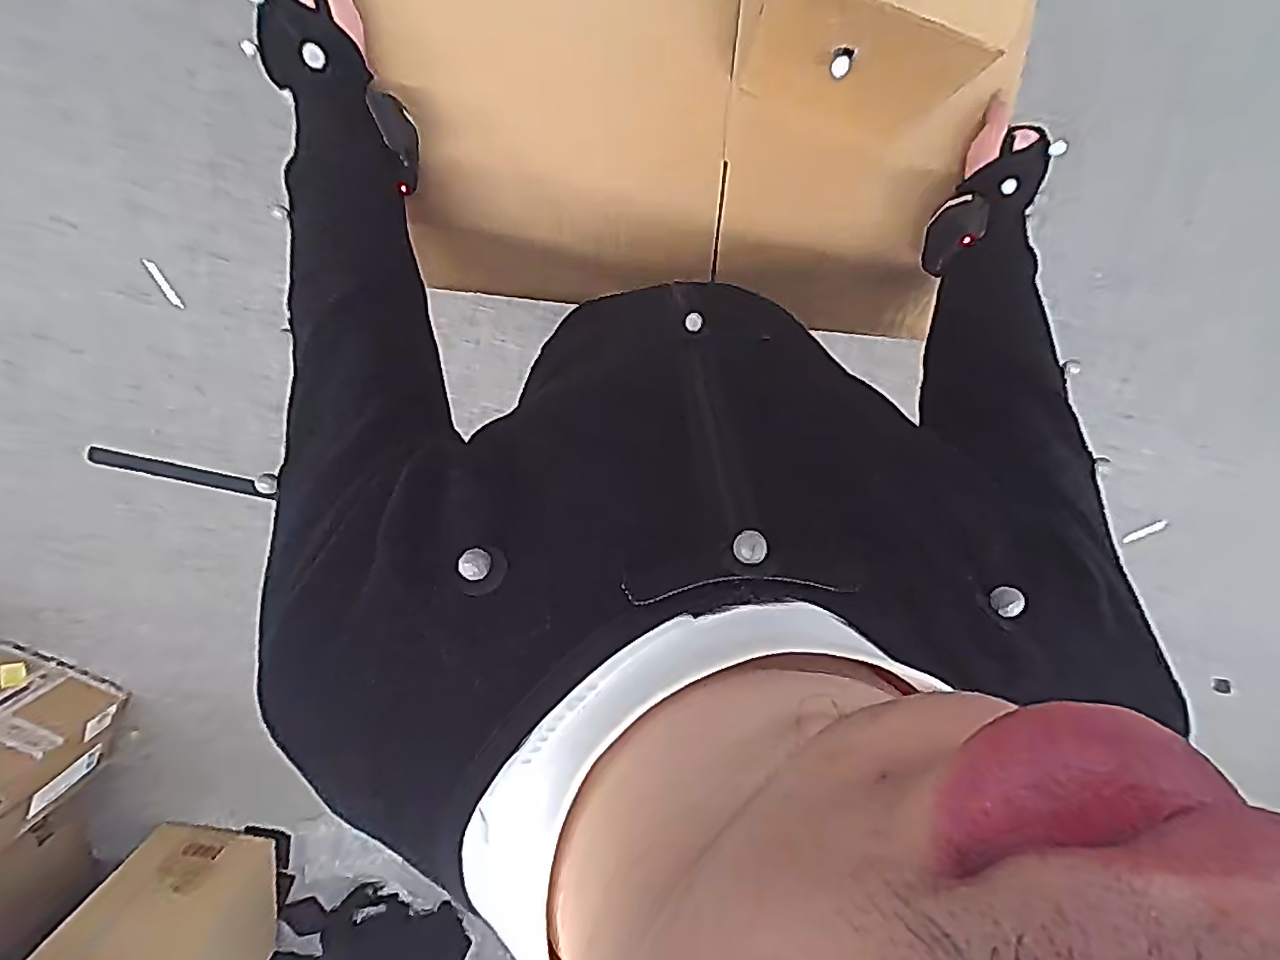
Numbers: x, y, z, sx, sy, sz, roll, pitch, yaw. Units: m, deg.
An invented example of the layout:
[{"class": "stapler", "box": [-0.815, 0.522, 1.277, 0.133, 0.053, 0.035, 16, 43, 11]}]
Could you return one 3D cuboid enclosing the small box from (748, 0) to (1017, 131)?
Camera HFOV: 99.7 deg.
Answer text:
[{"class": "small box", "box": [0.210, -0.441, 0.468, 0.179, 0.176, 0.168, 15, 101, -5]}]
